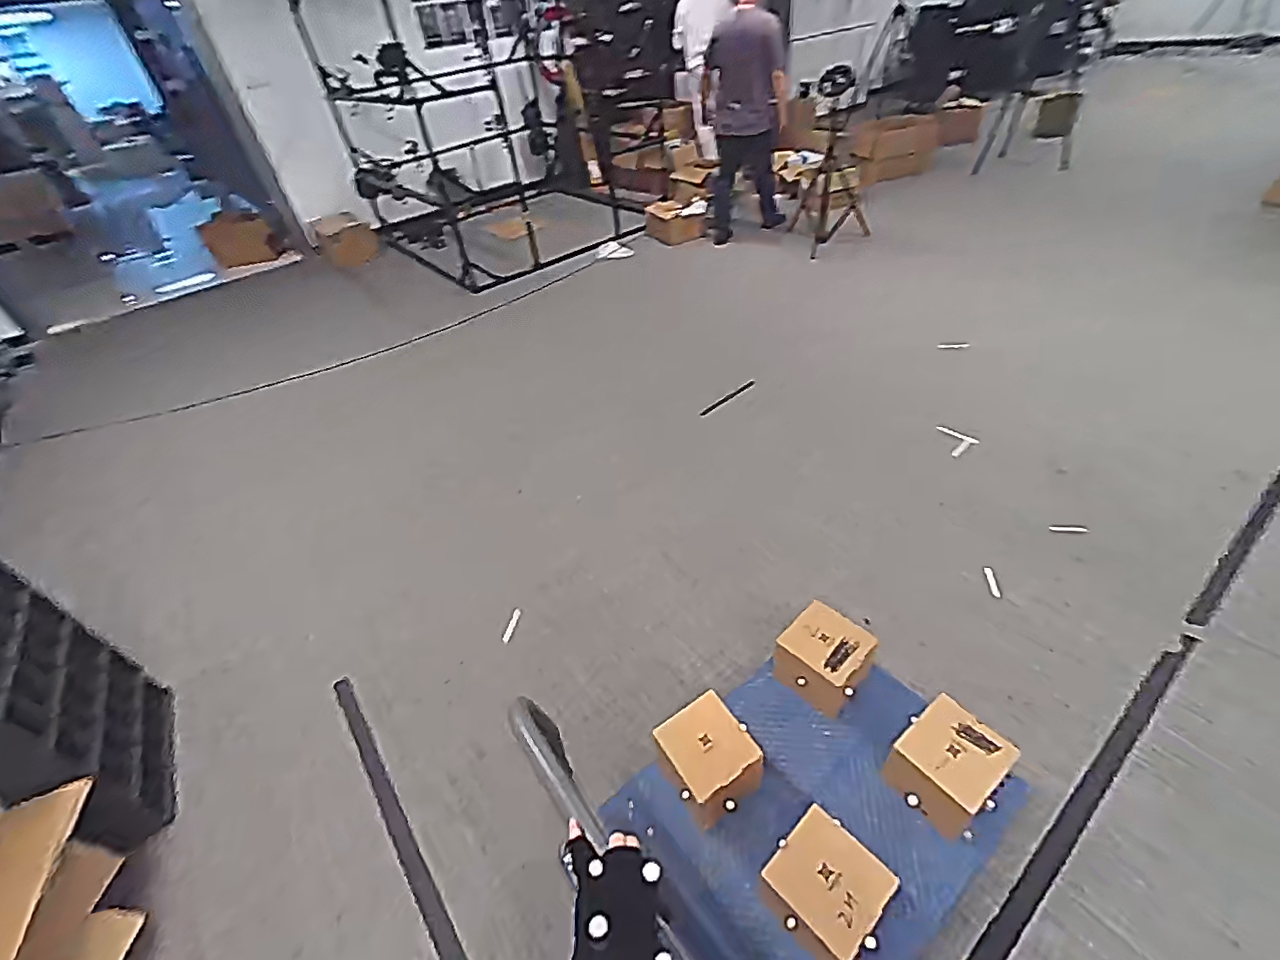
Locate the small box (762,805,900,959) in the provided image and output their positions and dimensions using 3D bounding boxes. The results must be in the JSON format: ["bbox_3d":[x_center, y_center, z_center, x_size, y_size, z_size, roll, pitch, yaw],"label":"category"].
[{"bbox_3d":[0.340,0.755,0.995,0.168,0.176,0.179,-35,47,-26],"label":"small box"}]

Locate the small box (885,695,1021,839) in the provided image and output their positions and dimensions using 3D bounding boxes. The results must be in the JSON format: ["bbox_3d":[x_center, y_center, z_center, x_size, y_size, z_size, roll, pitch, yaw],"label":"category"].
[{"bbox_3d":[0.637,0.594,1.123,0.179,0.176,0.168,-31,45,-22],"label":"small box"}]

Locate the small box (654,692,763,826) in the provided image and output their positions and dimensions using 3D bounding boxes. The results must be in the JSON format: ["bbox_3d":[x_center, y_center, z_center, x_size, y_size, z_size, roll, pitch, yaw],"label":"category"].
[{"bbox_3d":[0.148,0.616,1.192,0.168,0.176,0.179,-27,46,-21],"label":"small box"}]
